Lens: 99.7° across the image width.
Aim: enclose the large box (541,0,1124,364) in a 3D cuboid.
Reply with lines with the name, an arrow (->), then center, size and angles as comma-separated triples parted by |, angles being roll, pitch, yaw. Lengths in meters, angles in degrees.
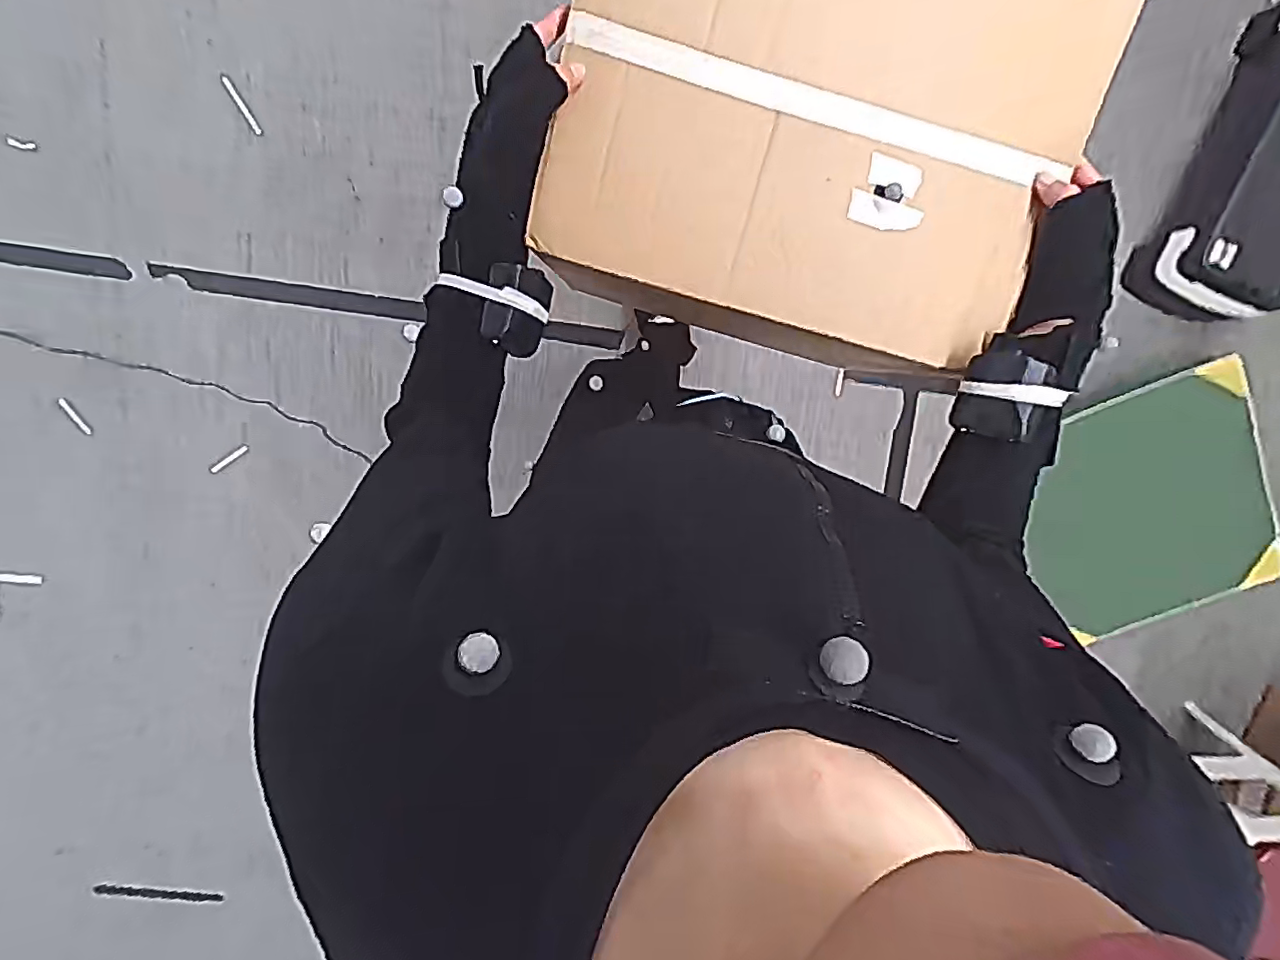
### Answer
large box -> 0.141, -0.325, 0.571 | 0.408, 0.320, 0.320 | 15, 104, -5
